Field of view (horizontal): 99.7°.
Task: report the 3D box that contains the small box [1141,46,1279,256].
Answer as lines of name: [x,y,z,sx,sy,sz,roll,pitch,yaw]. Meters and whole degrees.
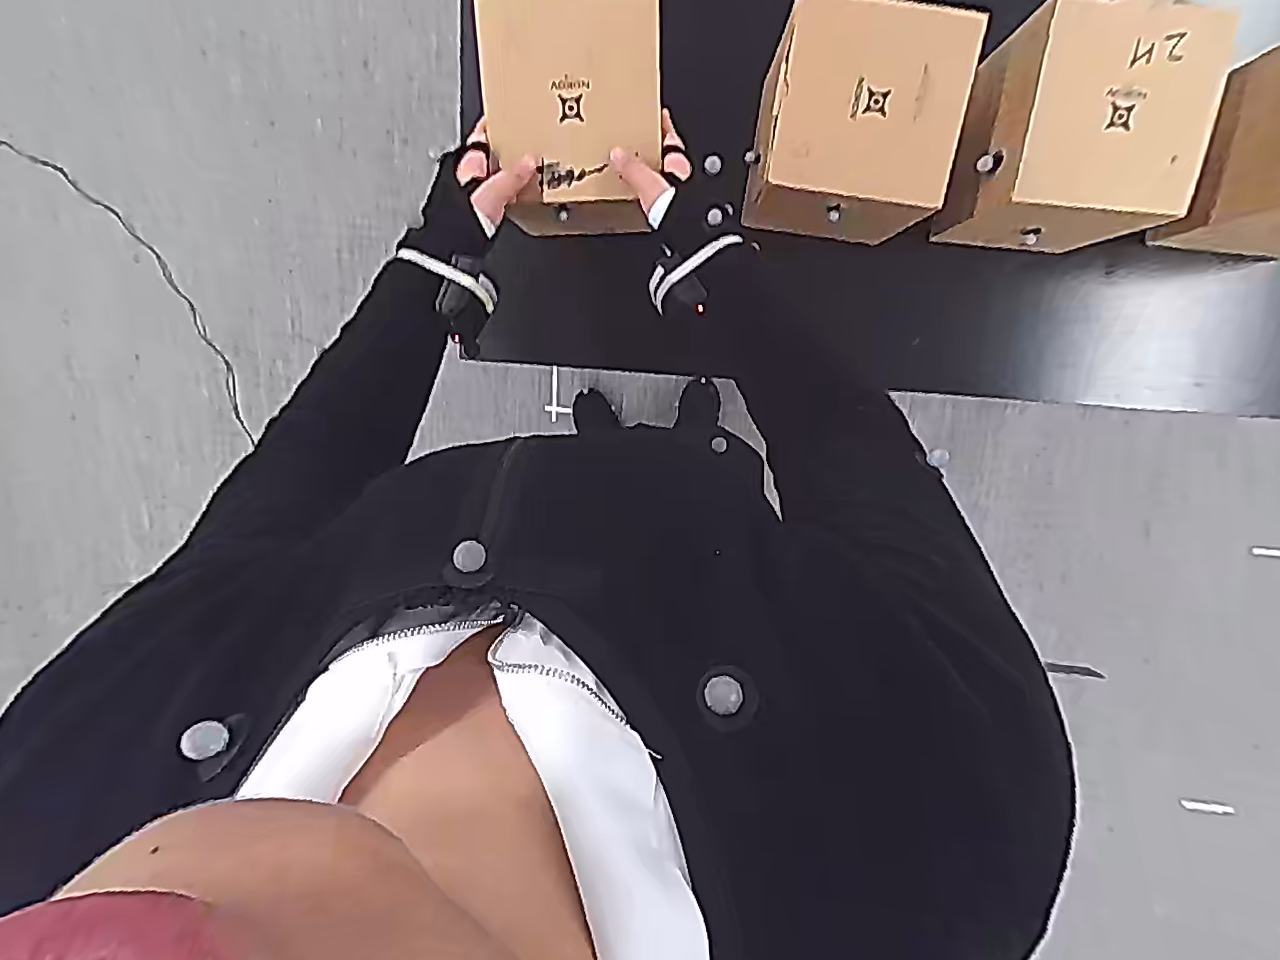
small box: [0.705,-0.348,0.578,0.179,0.176,0.168,7,102,1]

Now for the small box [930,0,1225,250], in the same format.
small box: [0.445,-0.362,0.587,0.168,0.176,0.179,6,102,1]

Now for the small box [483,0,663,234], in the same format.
small box: [-0.060,-0.376,0.582,0.168,0.176,0.179,-1,105,1]
